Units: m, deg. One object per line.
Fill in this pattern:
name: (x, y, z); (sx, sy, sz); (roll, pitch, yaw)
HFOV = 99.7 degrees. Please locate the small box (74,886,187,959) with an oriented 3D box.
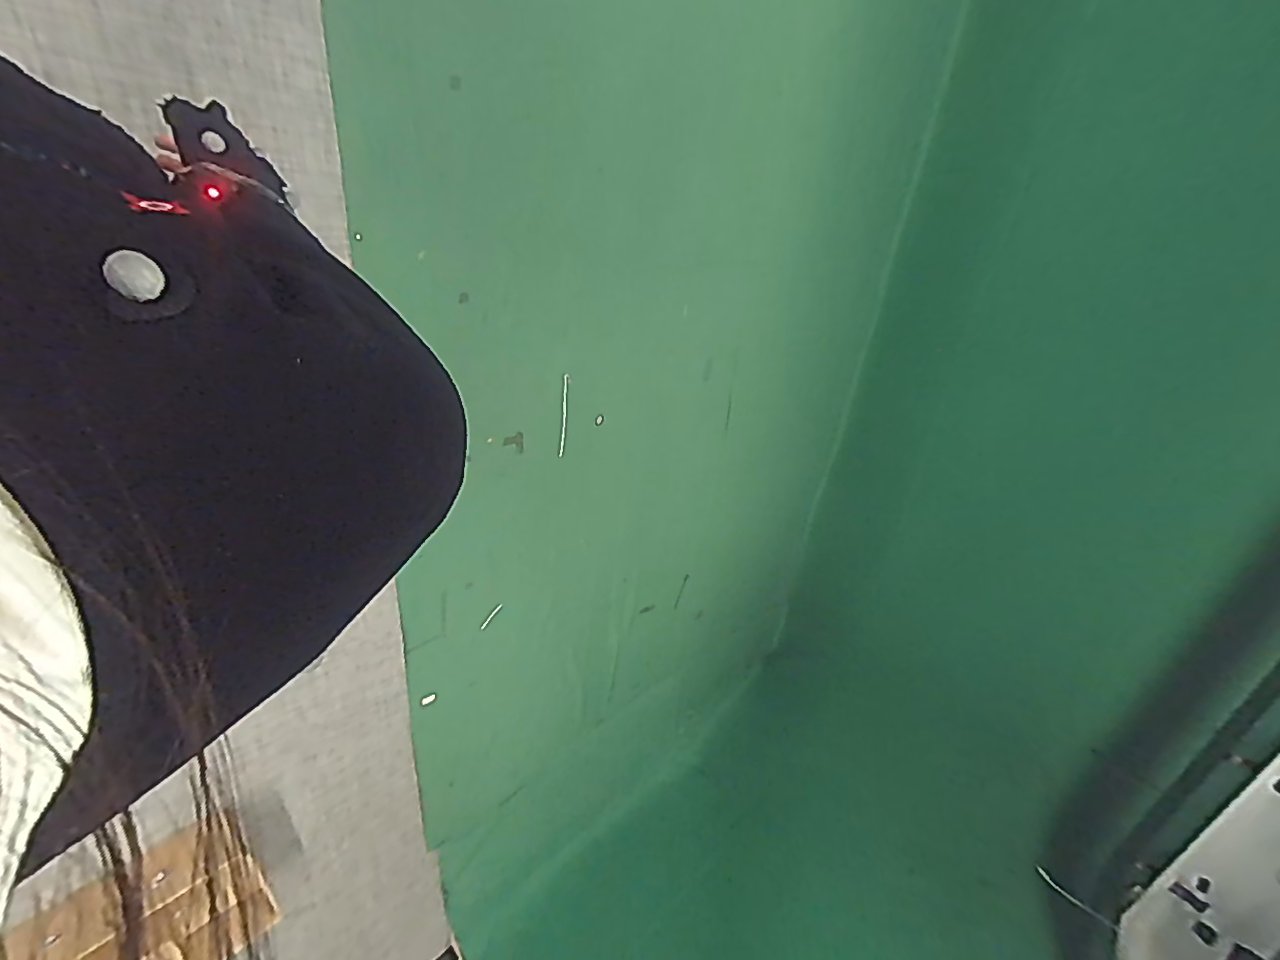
small box: (-1.363, 1.253, 1.445); (0.179, 0.176, 0.168); (-25, 132, -41)
